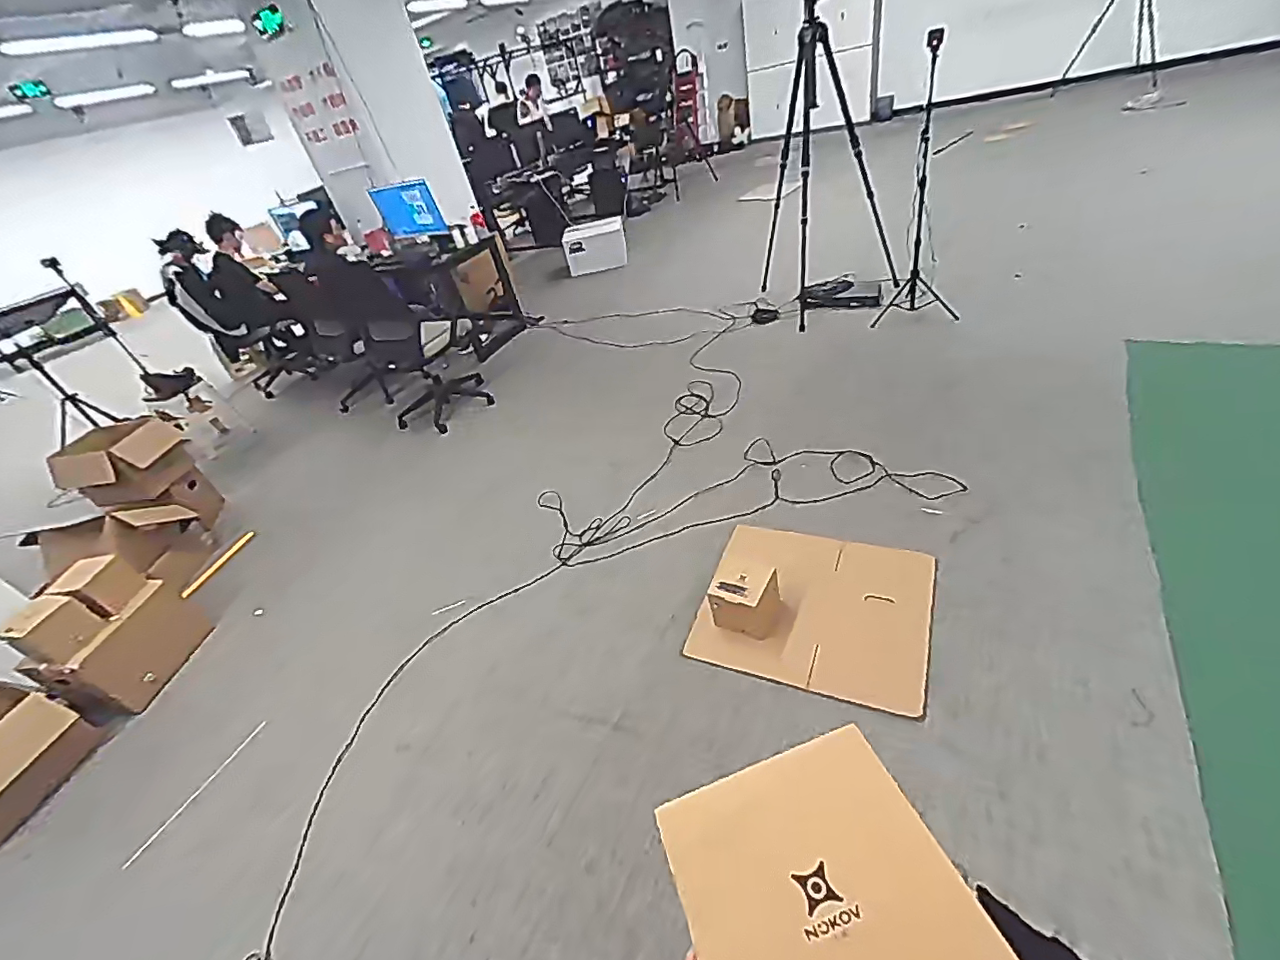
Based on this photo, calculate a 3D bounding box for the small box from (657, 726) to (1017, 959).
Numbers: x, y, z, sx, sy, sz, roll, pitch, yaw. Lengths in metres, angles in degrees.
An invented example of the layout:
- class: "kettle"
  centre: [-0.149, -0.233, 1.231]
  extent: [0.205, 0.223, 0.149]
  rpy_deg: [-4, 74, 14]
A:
- class: "small box"
  centre: [0.125, 0.318, 0.375]
  extent: [0.168, 0.176, 0.179]
  rpy_deg: [-19, 35, -7]
